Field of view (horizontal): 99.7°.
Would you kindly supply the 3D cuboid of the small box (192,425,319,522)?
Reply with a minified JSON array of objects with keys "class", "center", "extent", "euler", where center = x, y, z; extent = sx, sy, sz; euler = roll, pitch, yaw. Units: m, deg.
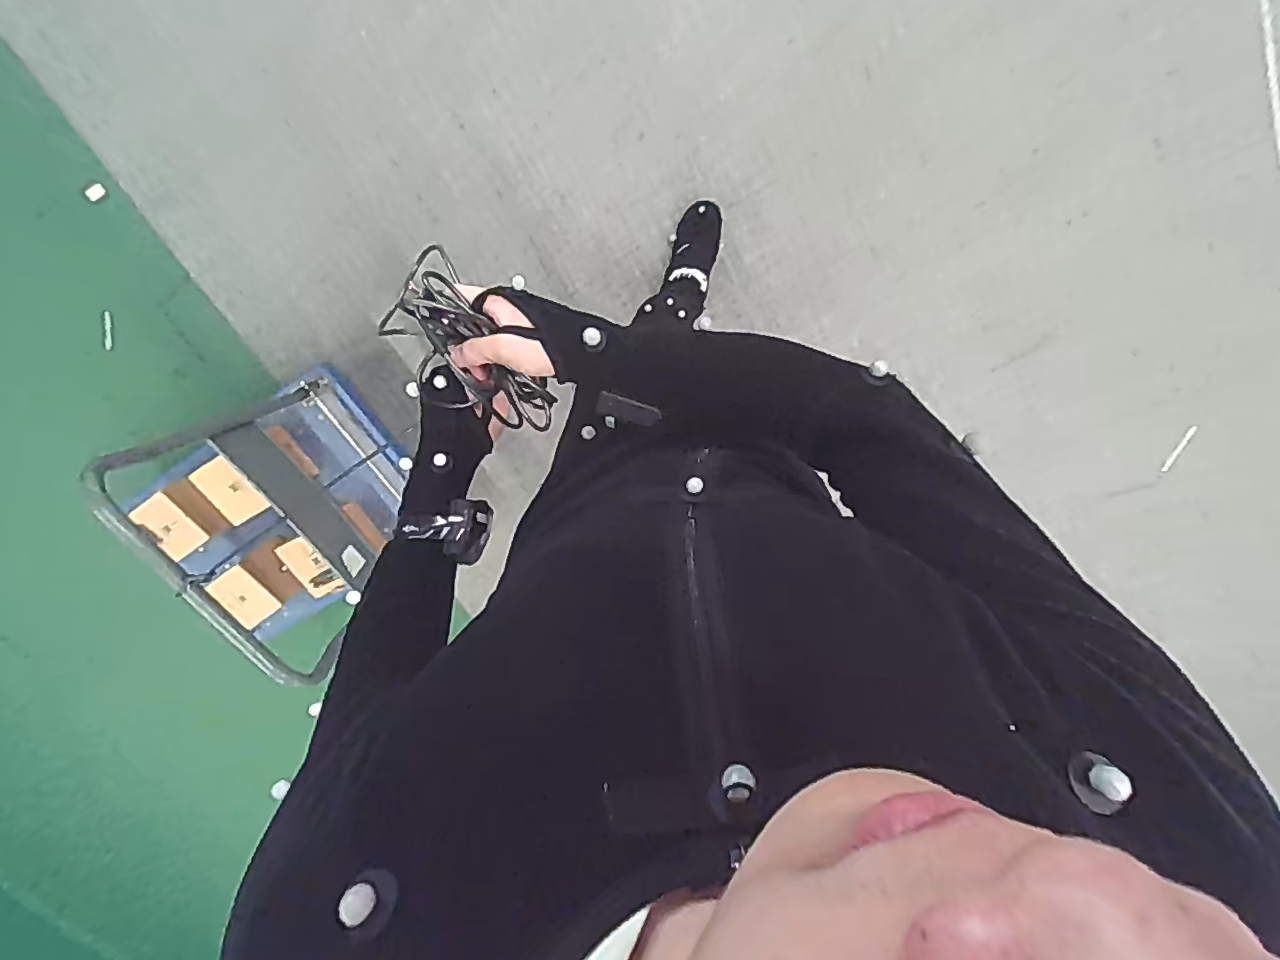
[{"class":"small box","center":[-1.004,-0.021,1.429],"extent":[0.179,0.176,0.168],"euler":[-27,109,13]}]

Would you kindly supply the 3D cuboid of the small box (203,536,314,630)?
[{"class":"small box","center":[-1.092,0.291,1.569],"extent":[0.179,0.176,0.168],"euler":[-32,107,15]}]

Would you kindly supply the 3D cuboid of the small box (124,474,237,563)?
[{"class":"small box","center":[-1.233,0.092,1.490],"extent":[0.179,0.176,0.168],"euler":[-30,109,14]}]
